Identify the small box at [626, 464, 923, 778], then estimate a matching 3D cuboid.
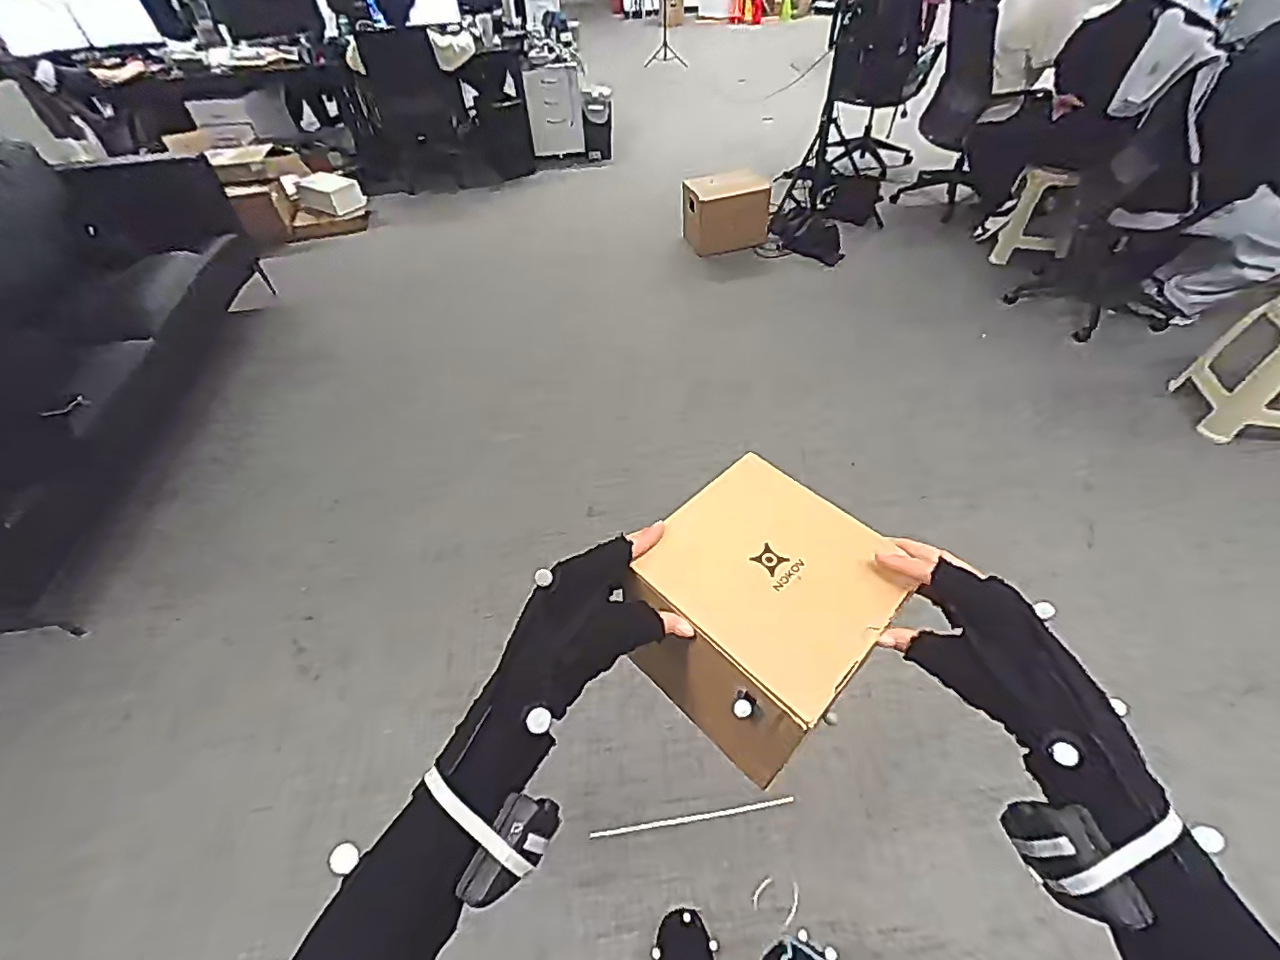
[{"bbox_3d":[0.102,0.124,0.481,0.168,0.176,0.179,-36,58,-28],"label":"small box"}]
